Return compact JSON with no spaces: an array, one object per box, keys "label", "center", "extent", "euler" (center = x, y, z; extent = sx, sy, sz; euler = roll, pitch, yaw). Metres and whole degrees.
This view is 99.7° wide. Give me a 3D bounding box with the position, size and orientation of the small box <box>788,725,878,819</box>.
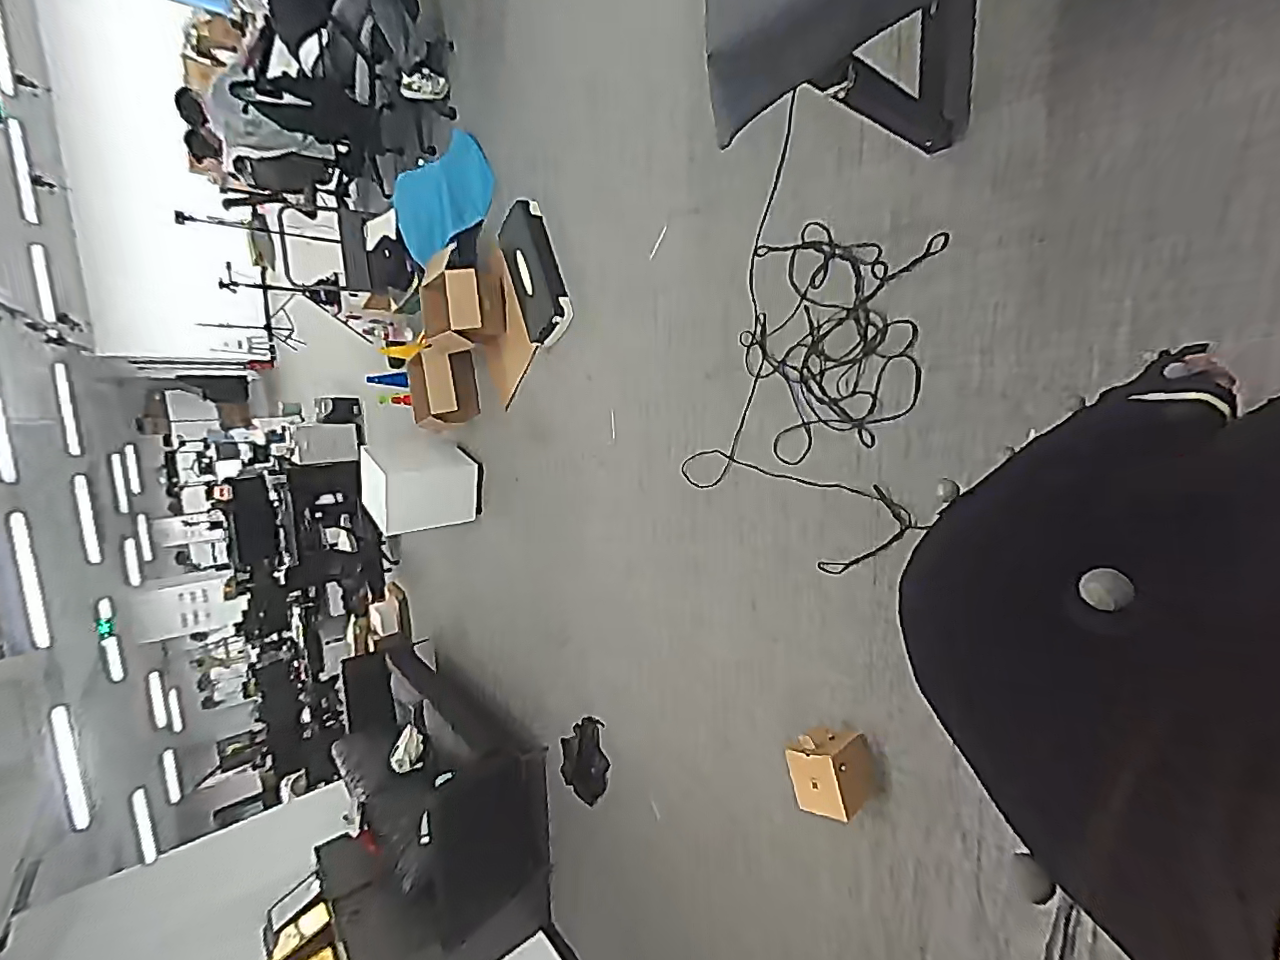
[{"label":"small box","center":[0.573,0.853,1.594],"extent":[0.168,0.176,0.179],"euler":[-22,79,50]}]
